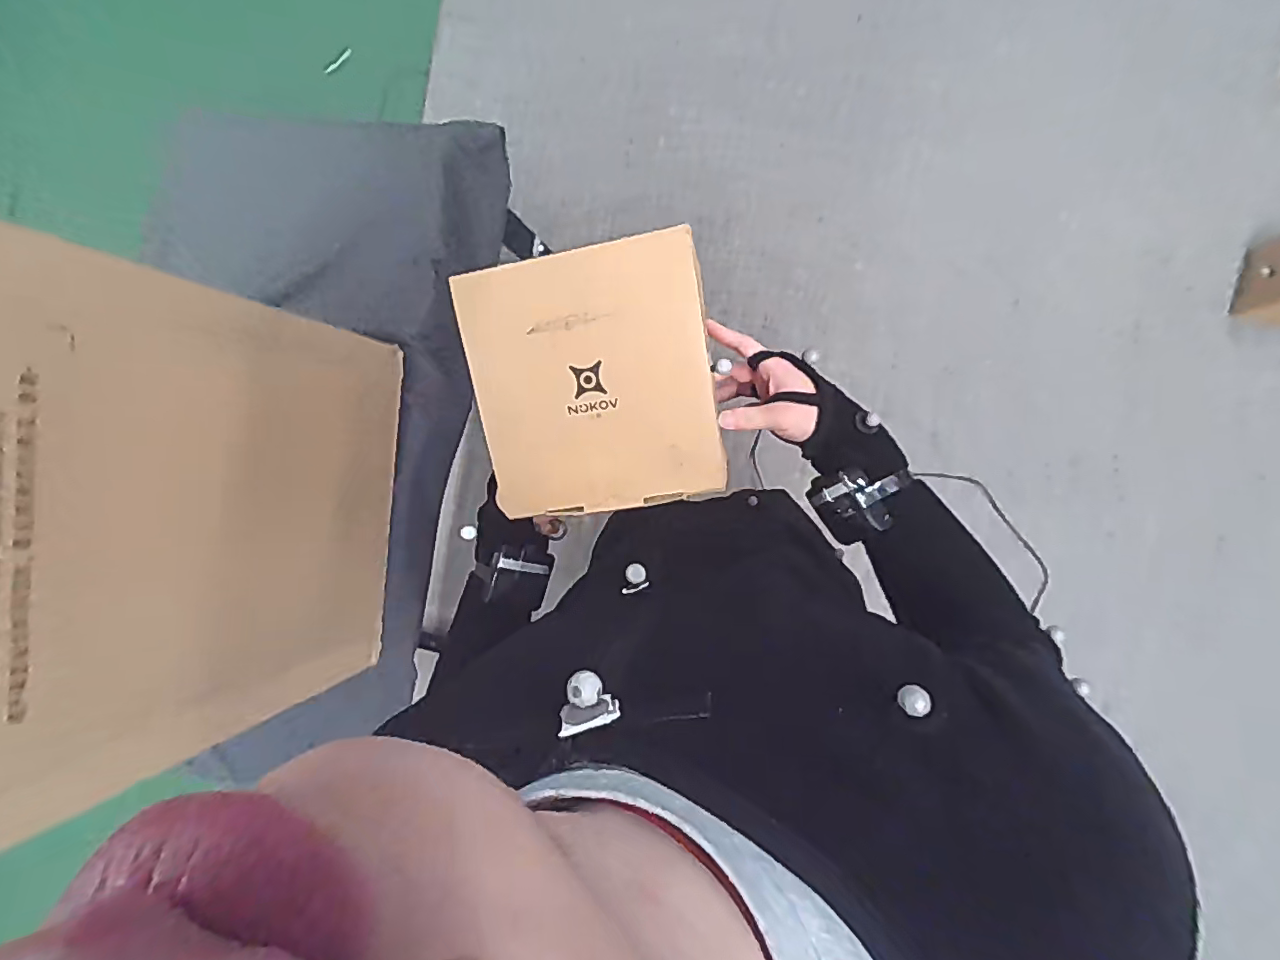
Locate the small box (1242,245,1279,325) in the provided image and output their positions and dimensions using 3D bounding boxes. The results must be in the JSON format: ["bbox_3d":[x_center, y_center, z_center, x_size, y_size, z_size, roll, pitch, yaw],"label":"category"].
[{"bbox_3d":[1.457,-0.424,1.142,0.179,0.176,0.168,14,94,14],"label":"small box"}]
